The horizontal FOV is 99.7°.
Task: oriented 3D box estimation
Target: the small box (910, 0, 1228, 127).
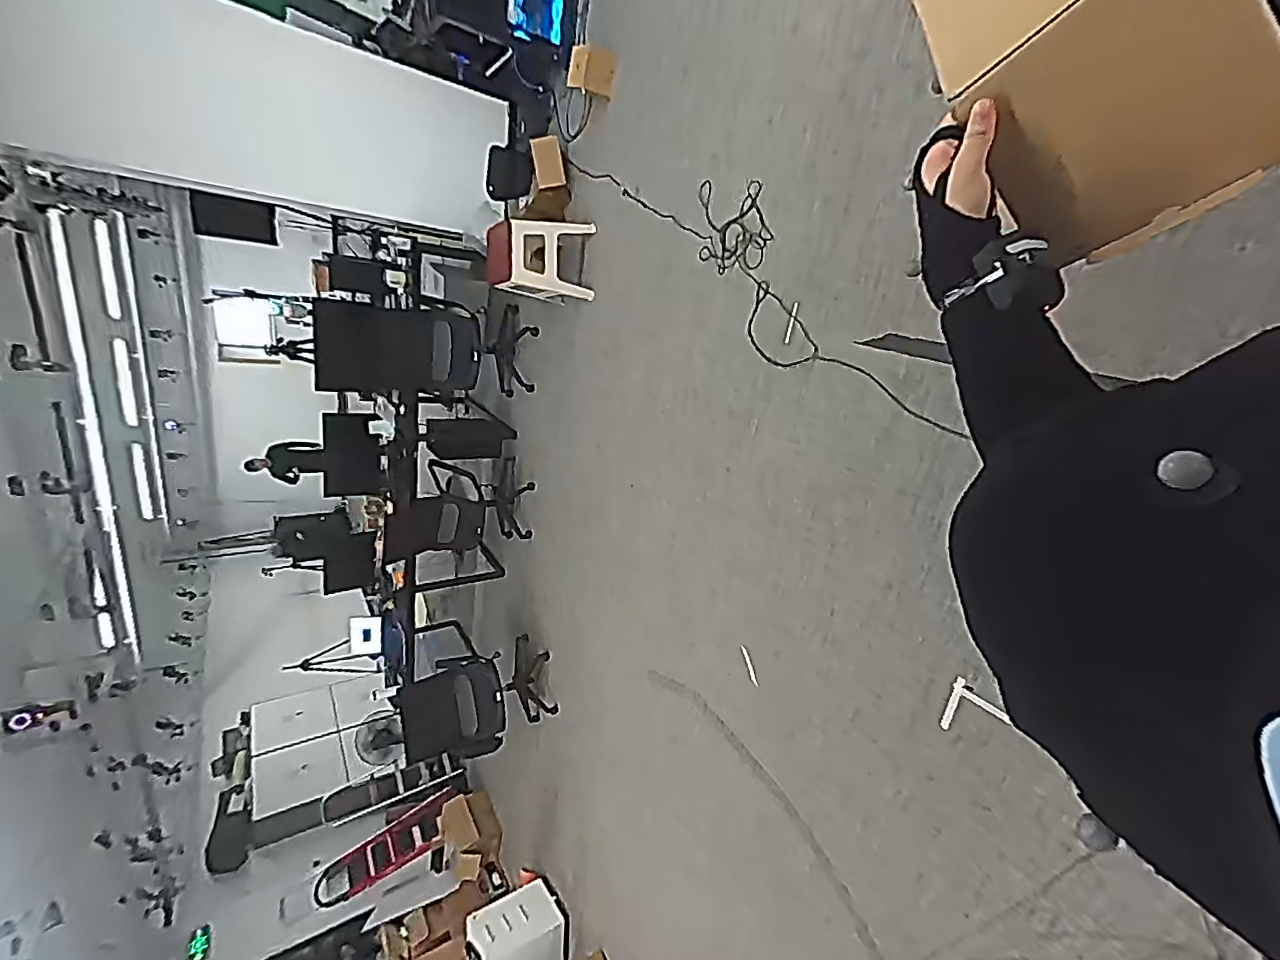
[{"bbox_3d":[0.347,-0.433,0.448,0.168,0.176,0.179,-25,76,53],"label":"small box"}]
